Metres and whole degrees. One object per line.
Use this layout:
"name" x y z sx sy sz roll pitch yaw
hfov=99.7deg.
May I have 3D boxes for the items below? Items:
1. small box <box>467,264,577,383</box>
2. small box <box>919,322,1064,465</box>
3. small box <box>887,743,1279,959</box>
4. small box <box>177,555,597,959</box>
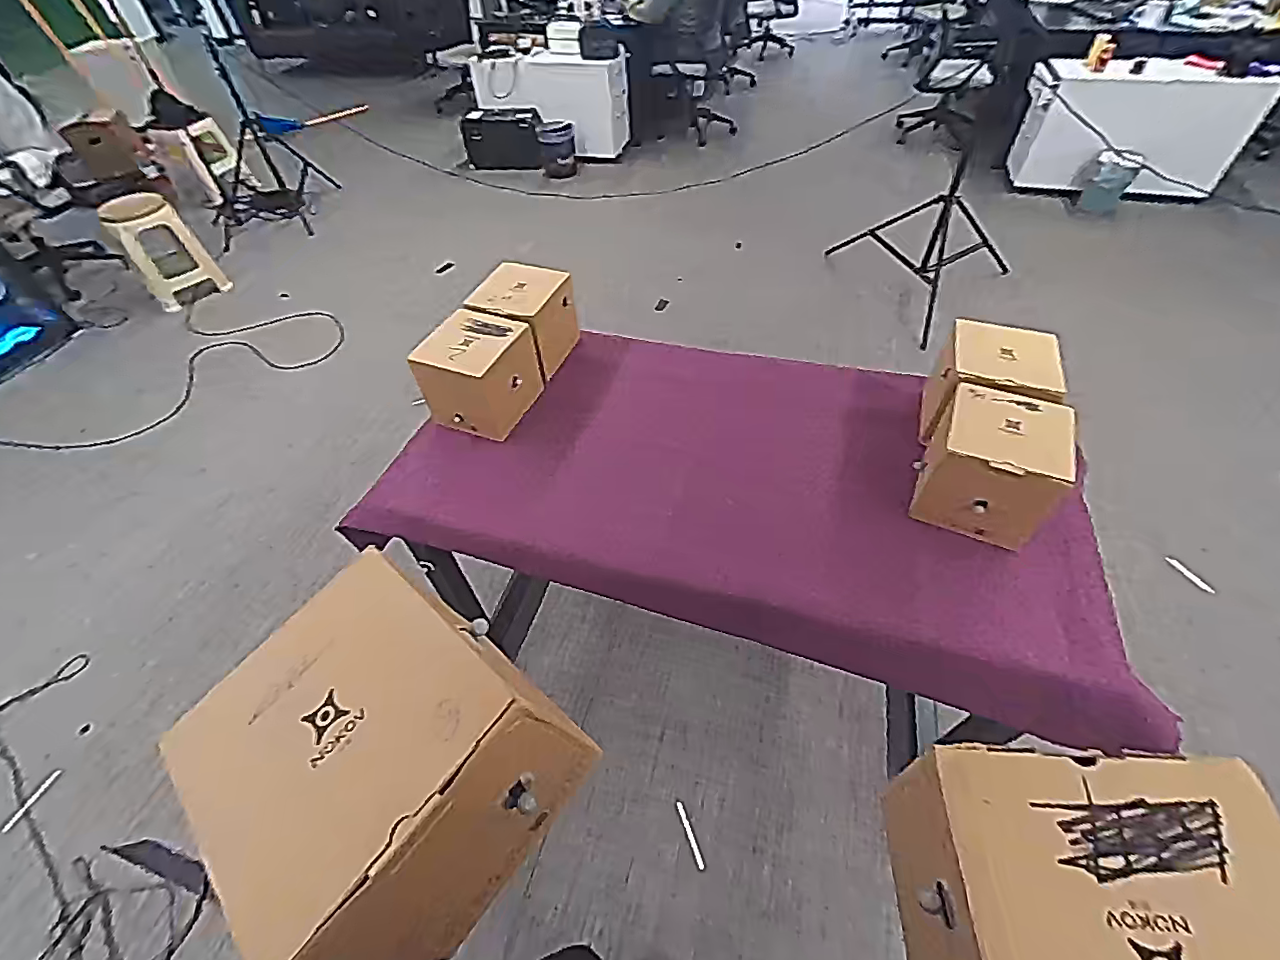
"small box" -0.248 -0.344 1.191 0.168 0.176 0.179 15 53 15
"small box" 0.629 -0.157 0.989 0.168 0.176 0.179 15 51 15
"small box" 0.264 0.277 0.327 0.168 0.176 0.179 -2 51 10
"small box" -0.156 0.191 0.381 0.179 0.176 0.168 29 65 33
